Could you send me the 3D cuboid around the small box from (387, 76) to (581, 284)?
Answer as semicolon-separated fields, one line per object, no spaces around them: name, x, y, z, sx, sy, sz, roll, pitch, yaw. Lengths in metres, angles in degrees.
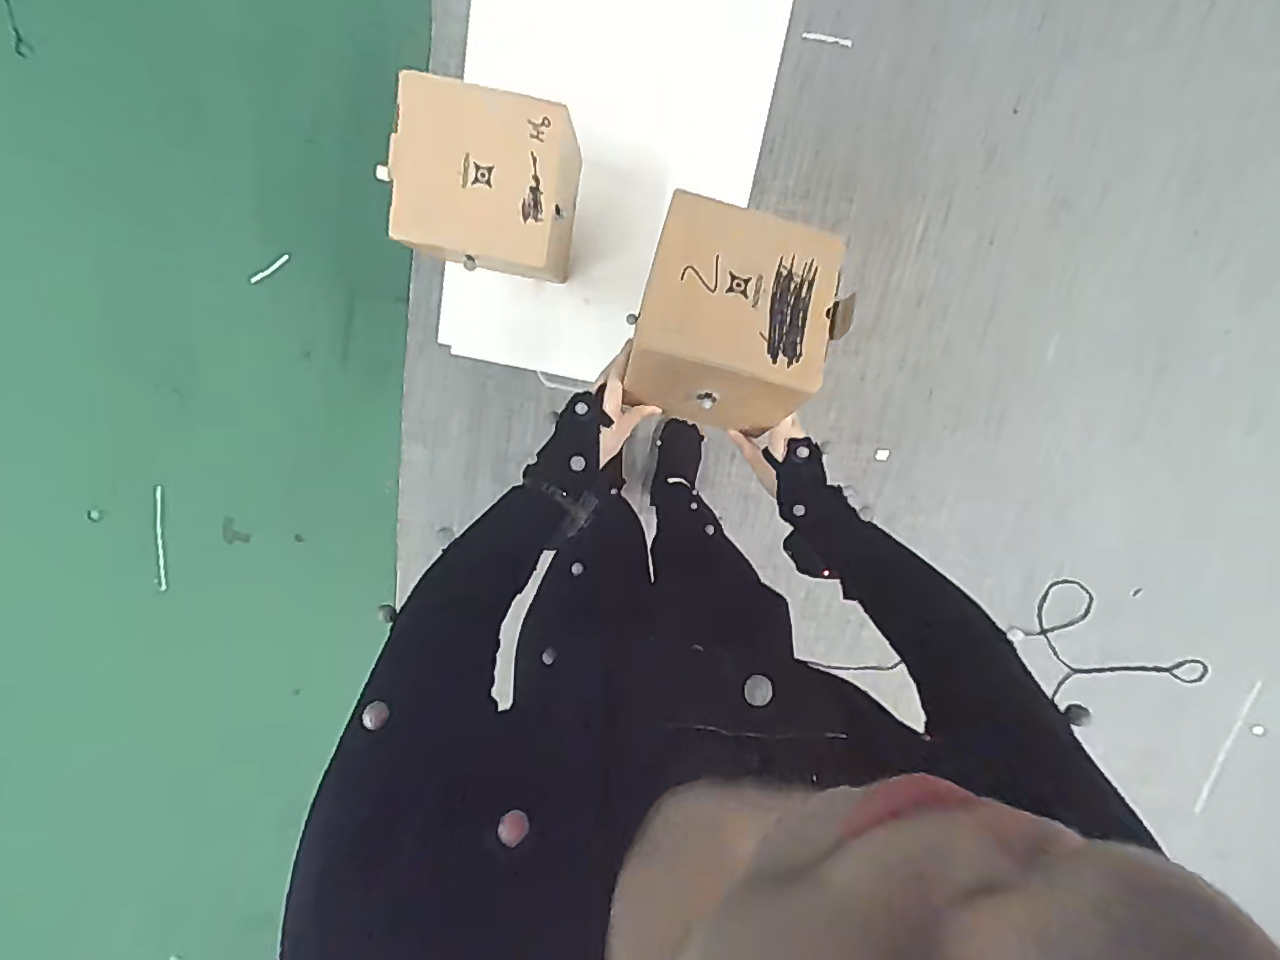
small box;-0.177;-0.342;0.654;0.179;0.176;0.168;10;104;-3
